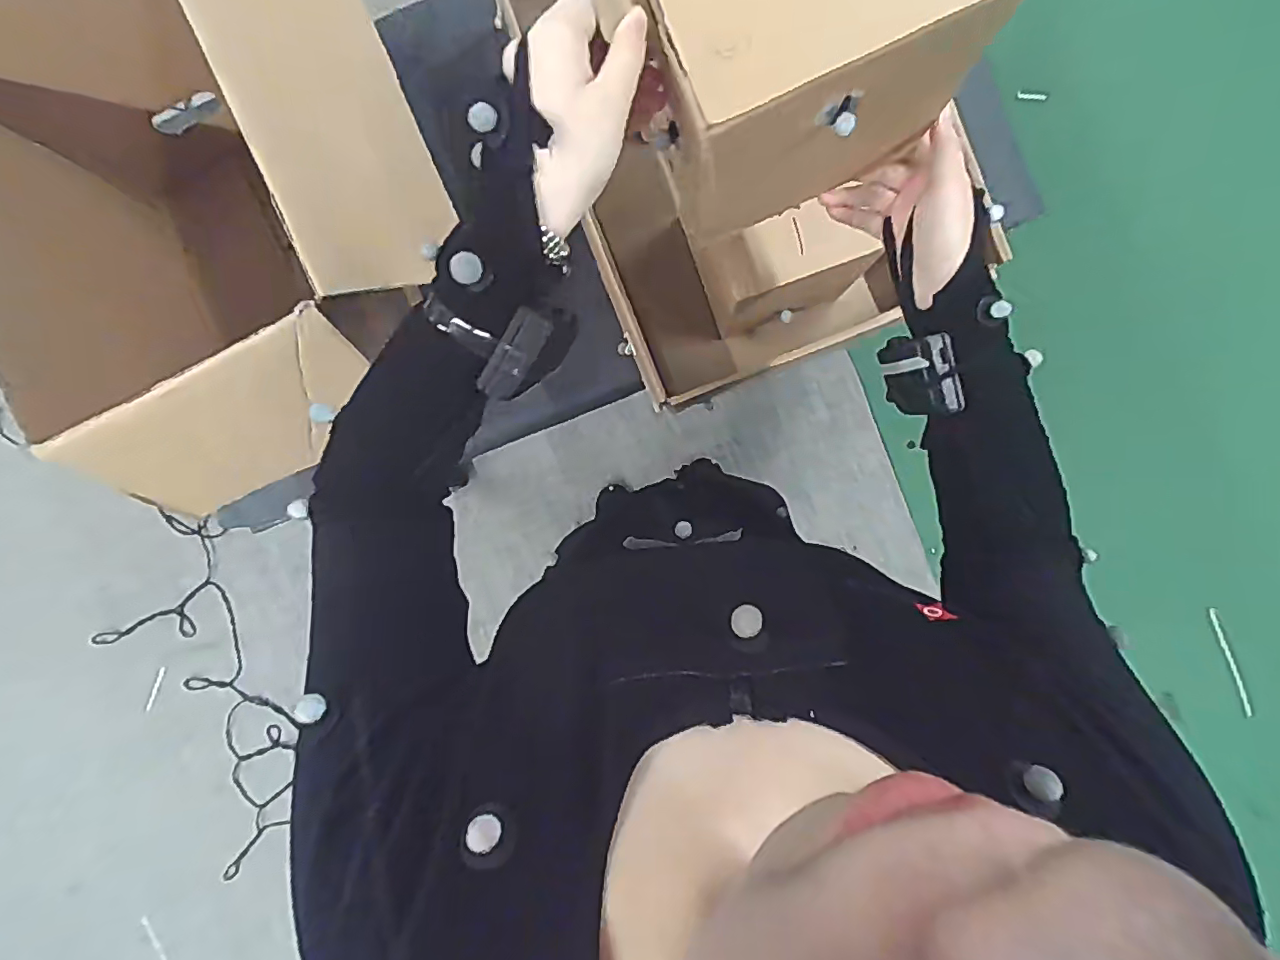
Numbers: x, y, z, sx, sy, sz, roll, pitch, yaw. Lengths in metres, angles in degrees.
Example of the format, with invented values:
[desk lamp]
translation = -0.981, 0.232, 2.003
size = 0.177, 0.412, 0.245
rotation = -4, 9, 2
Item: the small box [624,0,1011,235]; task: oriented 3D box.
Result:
[small box]
translation = 0.092, -0.292, 0.350
size = 0.179, 0.176, 0.168
rotation = -22, 93, 6
